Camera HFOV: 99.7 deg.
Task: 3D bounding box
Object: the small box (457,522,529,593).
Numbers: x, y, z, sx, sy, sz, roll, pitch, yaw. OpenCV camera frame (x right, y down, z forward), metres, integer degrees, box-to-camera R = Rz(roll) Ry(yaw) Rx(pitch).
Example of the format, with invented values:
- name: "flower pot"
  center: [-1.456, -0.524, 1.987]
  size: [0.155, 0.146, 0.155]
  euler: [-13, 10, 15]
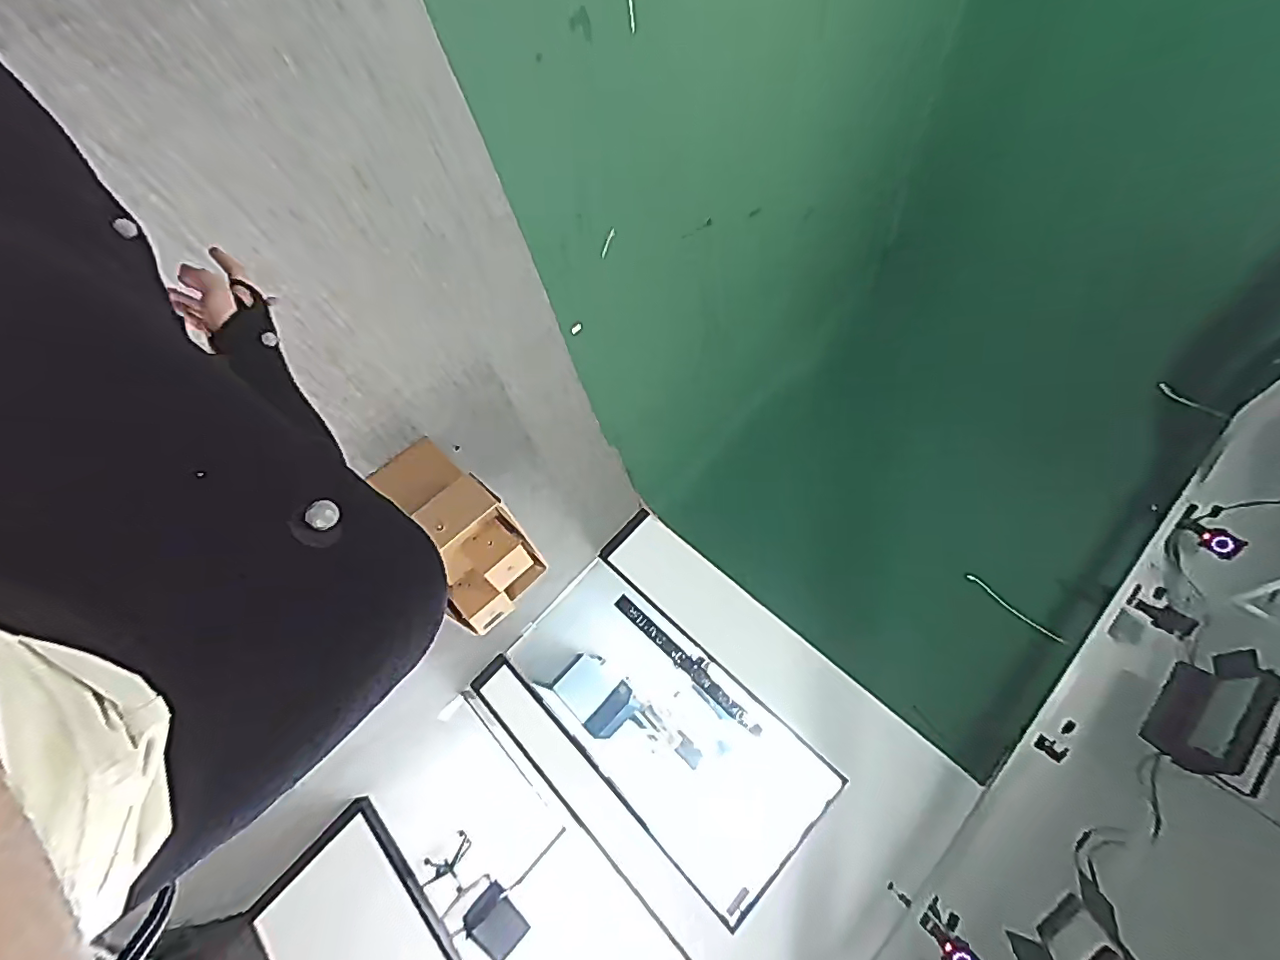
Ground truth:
- name: "small box"
  center: [-0.546, 0.282, 2.007]
  size: [0.168, 0.176, 0.179]
  euler: [-41, 153, -18]
